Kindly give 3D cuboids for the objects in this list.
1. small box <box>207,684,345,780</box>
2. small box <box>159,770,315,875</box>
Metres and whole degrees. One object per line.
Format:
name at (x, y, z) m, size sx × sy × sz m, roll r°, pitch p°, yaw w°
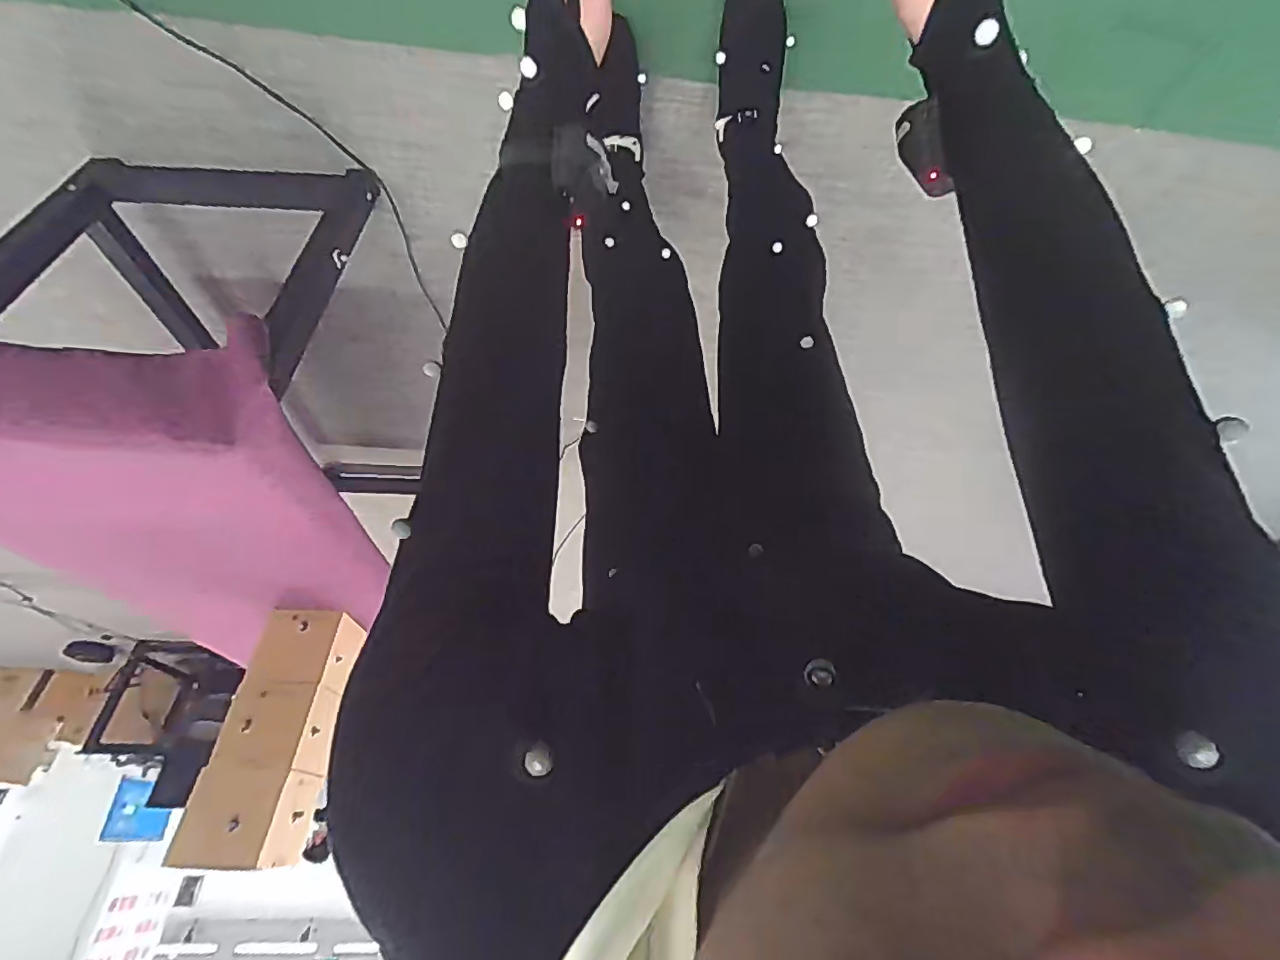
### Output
small box at (-0.779, 0.551, 1.180) m, size 0.168 × 0.176 × 0.179 m, roll 3°, pitch 145°, yaw -3°
small box at (-0.789, 0.685, 1.088) m, size 0.179 × 0.176 × 0.168 m, roll 2°, pitch 145°, yaw -2°
